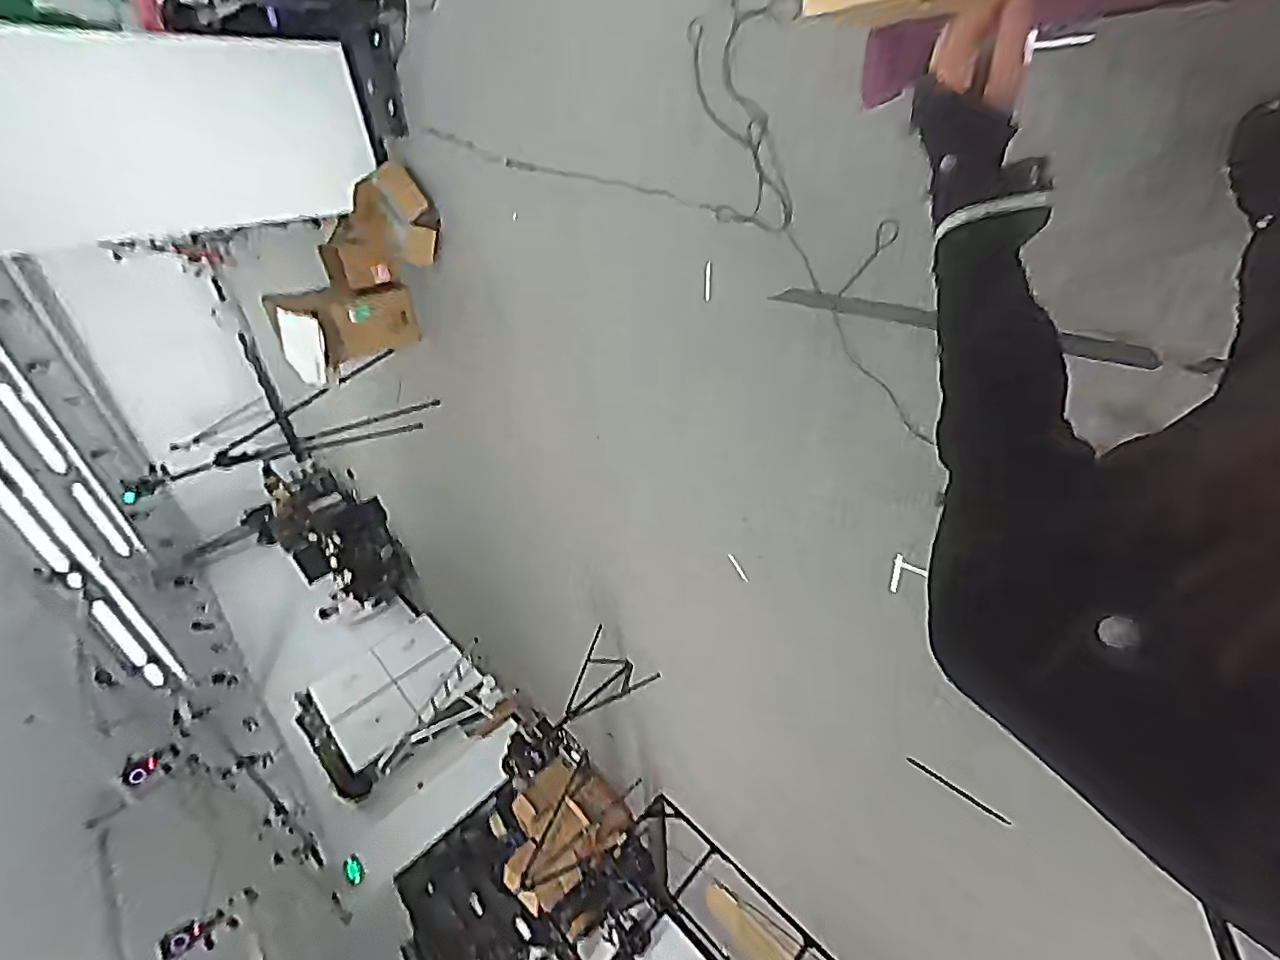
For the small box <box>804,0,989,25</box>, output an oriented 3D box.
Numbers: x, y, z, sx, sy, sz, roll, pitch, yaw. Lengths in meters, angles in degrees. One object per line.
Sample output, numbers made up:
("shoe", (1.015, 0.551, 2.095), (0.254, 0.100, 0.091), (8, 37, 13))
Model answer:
("small box", (0.308, -0.627, 0.597), (0.179, 0.176, 0.168), (24, 132, 38))
